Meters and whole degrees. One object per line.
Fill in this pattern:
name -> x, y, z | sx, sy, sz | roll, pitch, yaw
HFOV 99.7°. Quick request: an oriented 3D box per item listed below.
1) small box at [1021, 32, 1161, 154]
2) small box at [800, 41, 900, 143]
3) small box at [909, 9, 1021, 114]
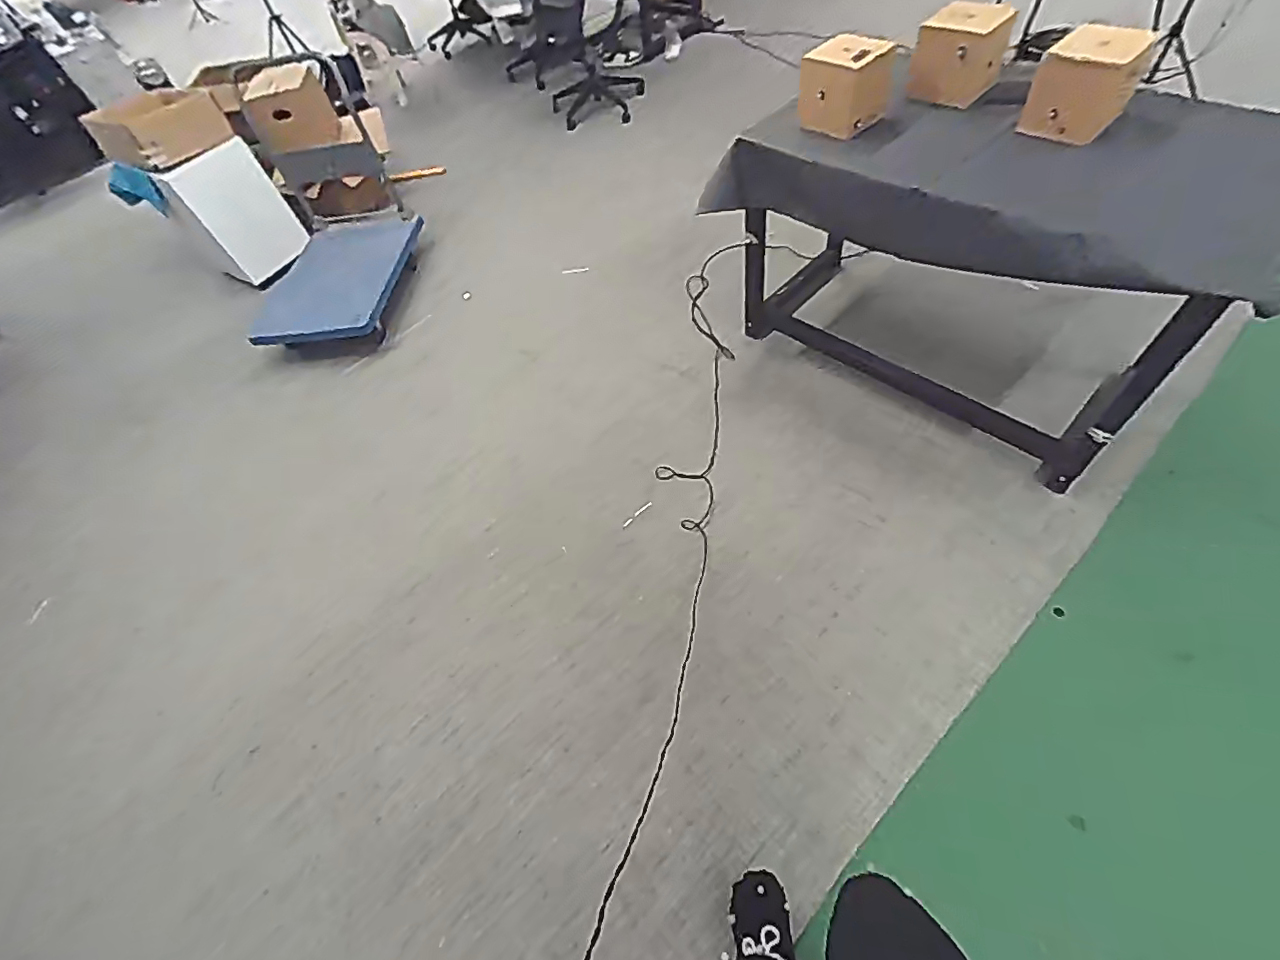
small box -> 1.050, -0.911, 1.276 | 0.179, 0.176, 0.168 | -40, 59, -16
small box -> 0.555, -1.037, 1.452 | 0.168, 0.176, 0.179 | -38, 57, -16
small box -> 0.859, -1.115, 1.446 | 0.168, 0.176, 0.179 | -41, 58, -17
